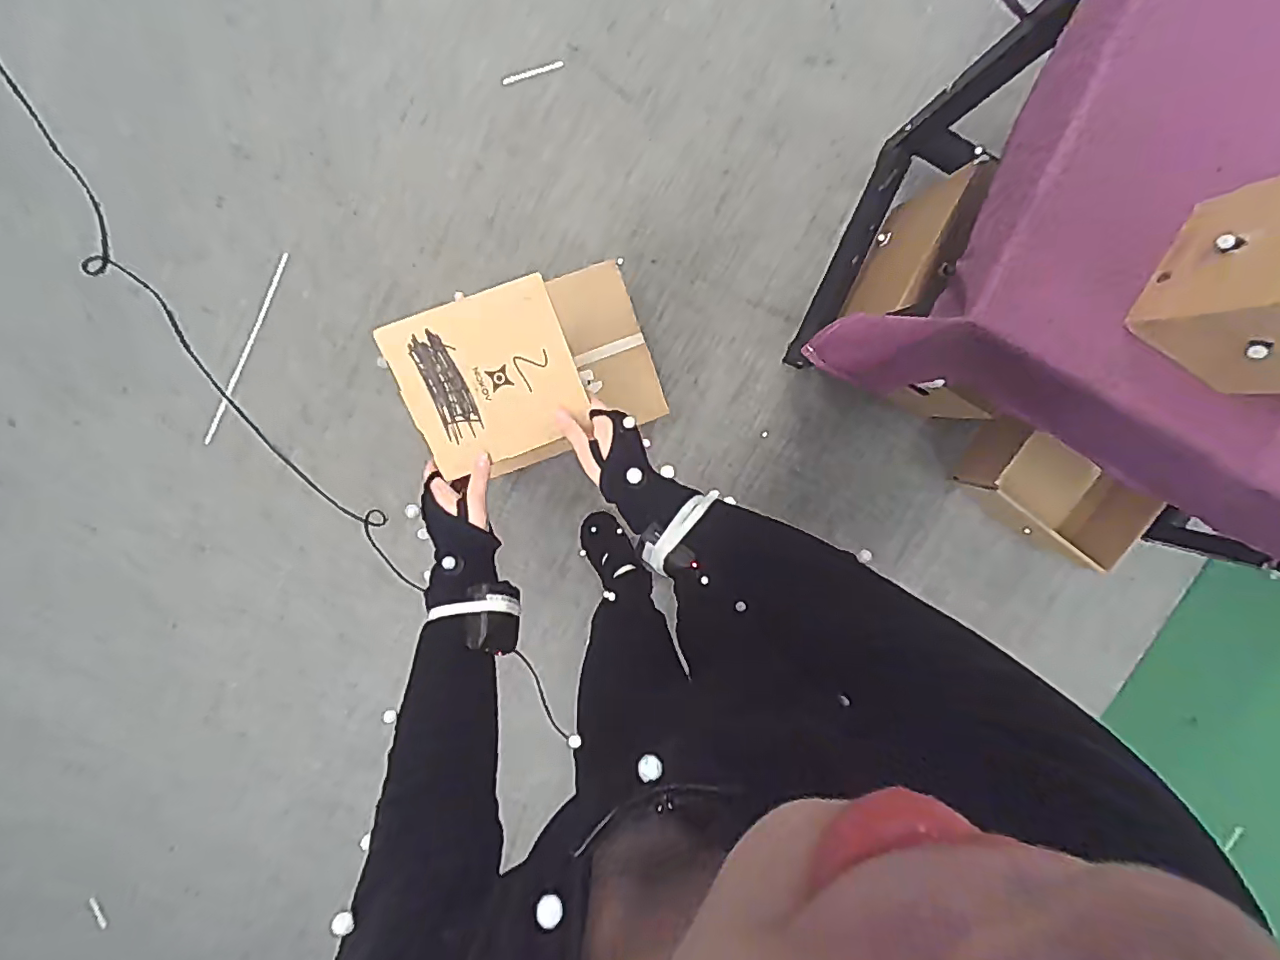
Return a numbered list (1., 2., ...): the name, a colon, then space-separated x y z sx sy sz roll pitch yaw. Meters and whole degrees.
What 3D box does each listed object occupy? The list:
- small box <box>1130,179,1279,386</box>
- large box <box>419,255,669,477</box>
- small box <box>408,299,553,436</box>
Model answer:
1. small box: 0.702 -0.208 0.581 0.179 0.176 0.168 28 96 -8
2. large box: -0.192 -0.233 1.178 0.408 0.320 0.320 -20 101 -2
3. small box: -0.258 -0.188 0.930 0.179 0.176 0.168 -24 98 0
